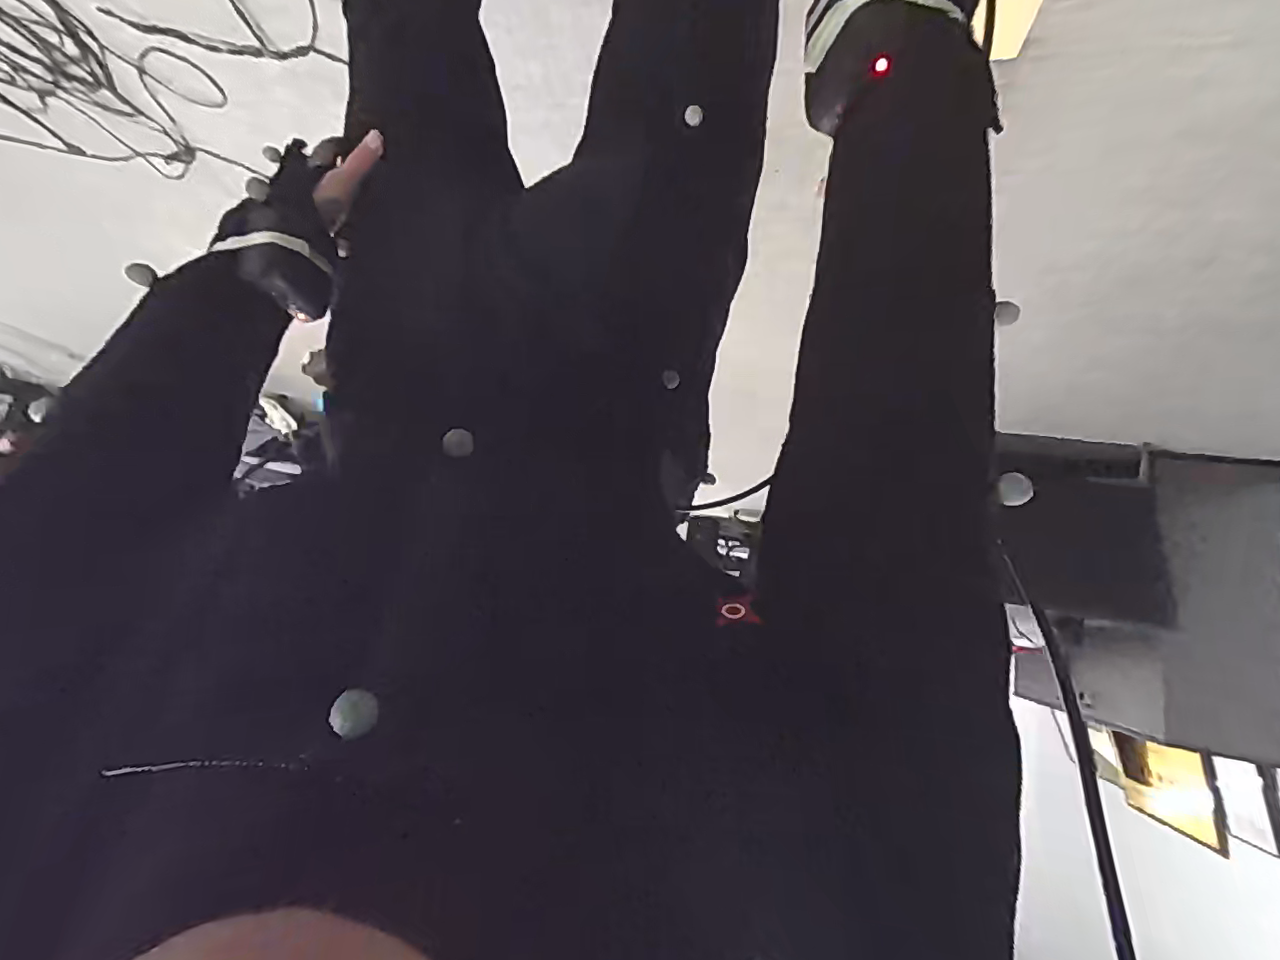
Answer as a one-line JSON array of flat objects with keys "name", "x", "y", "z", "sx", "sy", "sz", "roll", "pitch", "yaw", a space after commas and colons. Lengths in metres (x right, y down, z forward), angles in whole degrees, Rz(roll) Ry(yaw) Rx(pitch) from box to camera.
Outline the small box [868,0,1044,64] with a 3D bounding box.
[{"name": "small box", "x": 0.375, "y": -0.624, "z": 0.616, "sx": 0.179, "sy": 0.176, "sz": 0.168, "roll": 8, "pitch": 169, "yaw": 14}]
